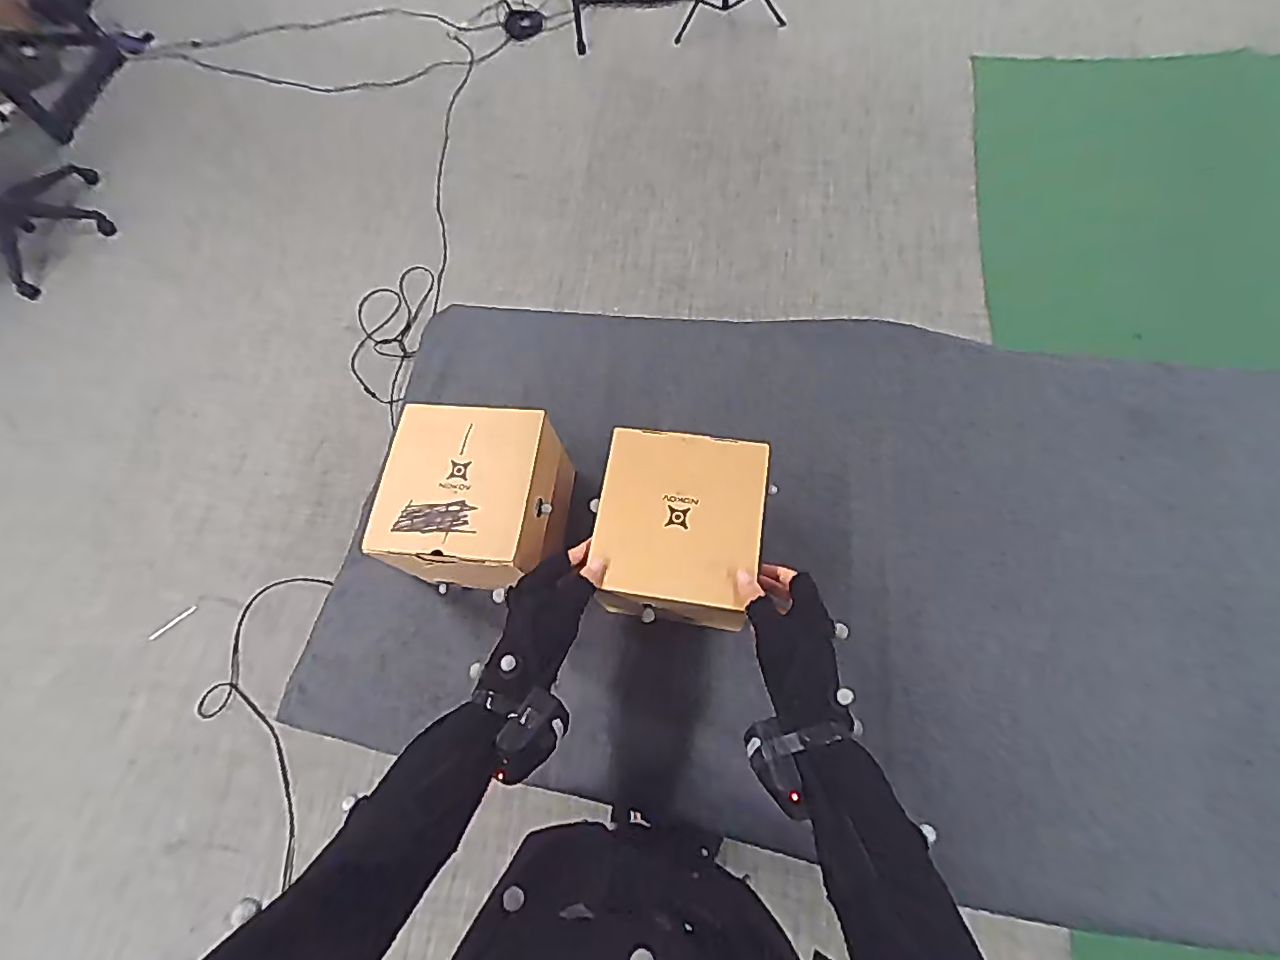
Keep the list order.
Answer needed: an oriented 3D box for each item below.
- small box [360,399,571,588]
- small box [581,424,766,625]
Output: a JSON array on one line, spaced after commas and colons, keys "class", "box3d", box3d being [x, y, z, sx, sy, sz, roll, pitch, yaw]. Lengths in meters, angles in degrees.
[{"class": "small box", "box3d": [-0.187, 0.024, 0.640, 0.168, 0.176, 0.179, 4, 67, 7]}, {"class": "small box", "box3d": [0.045, 0.058, 0.606, 0.168, 0.176, 0.179, 6, 68, 9]}]
